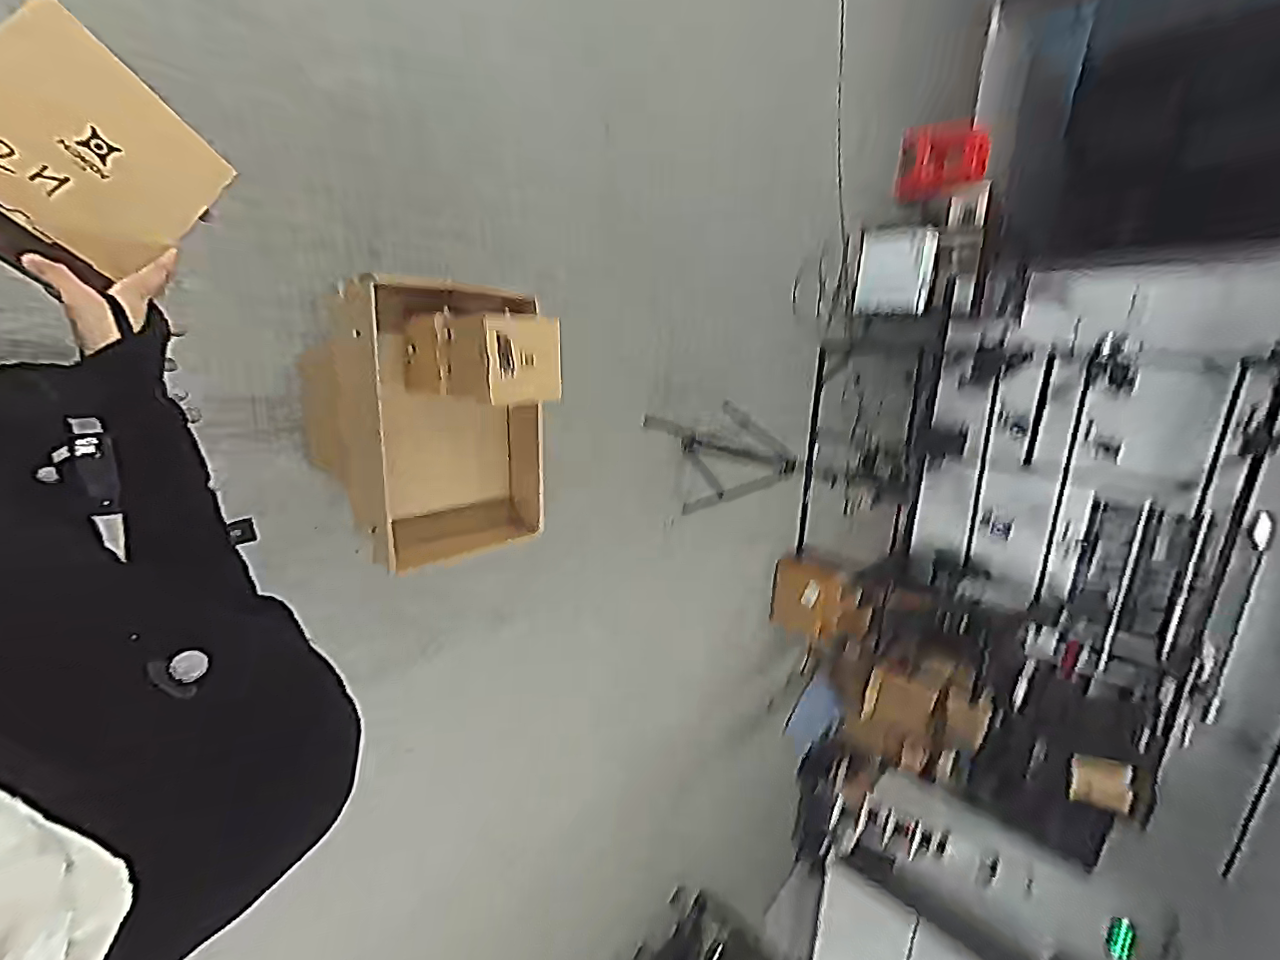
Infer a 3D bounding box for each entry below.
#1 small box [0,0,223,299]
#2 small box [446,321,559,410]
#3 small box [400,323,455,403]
[{"bbox_3d":[-0.561,-0.294,0.509,0.168,0.176,0.179,50,54,-53],"label":"small box"},{"bbox_3d":[-0.288,-0.237,1.120,0.179,0.176,0.168,-13,110,-45],"label":"small box"},{"bbox_3d":[-0.416,-0.266,1.220,0.179,0.176,0.168,-13,110,-44],"label":"small box"}]
